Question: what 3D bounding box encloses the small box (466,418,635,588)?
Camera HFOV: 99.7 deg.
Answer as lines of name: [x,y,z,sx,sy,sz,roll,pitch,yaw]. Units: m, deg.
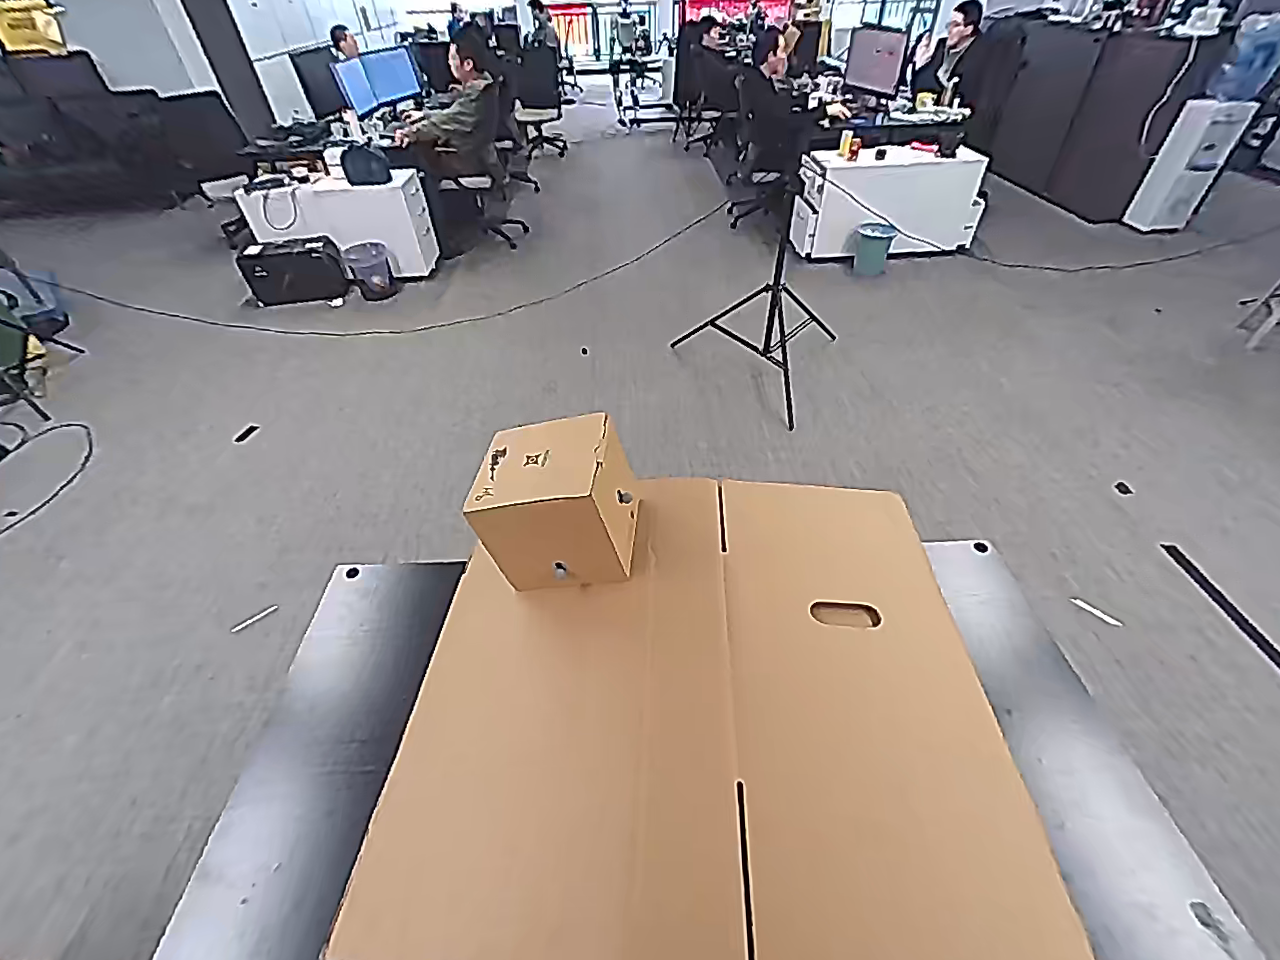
small box: [-0.112,0.037,0.771,0.179,0.176,0.168,-8,41,13]
